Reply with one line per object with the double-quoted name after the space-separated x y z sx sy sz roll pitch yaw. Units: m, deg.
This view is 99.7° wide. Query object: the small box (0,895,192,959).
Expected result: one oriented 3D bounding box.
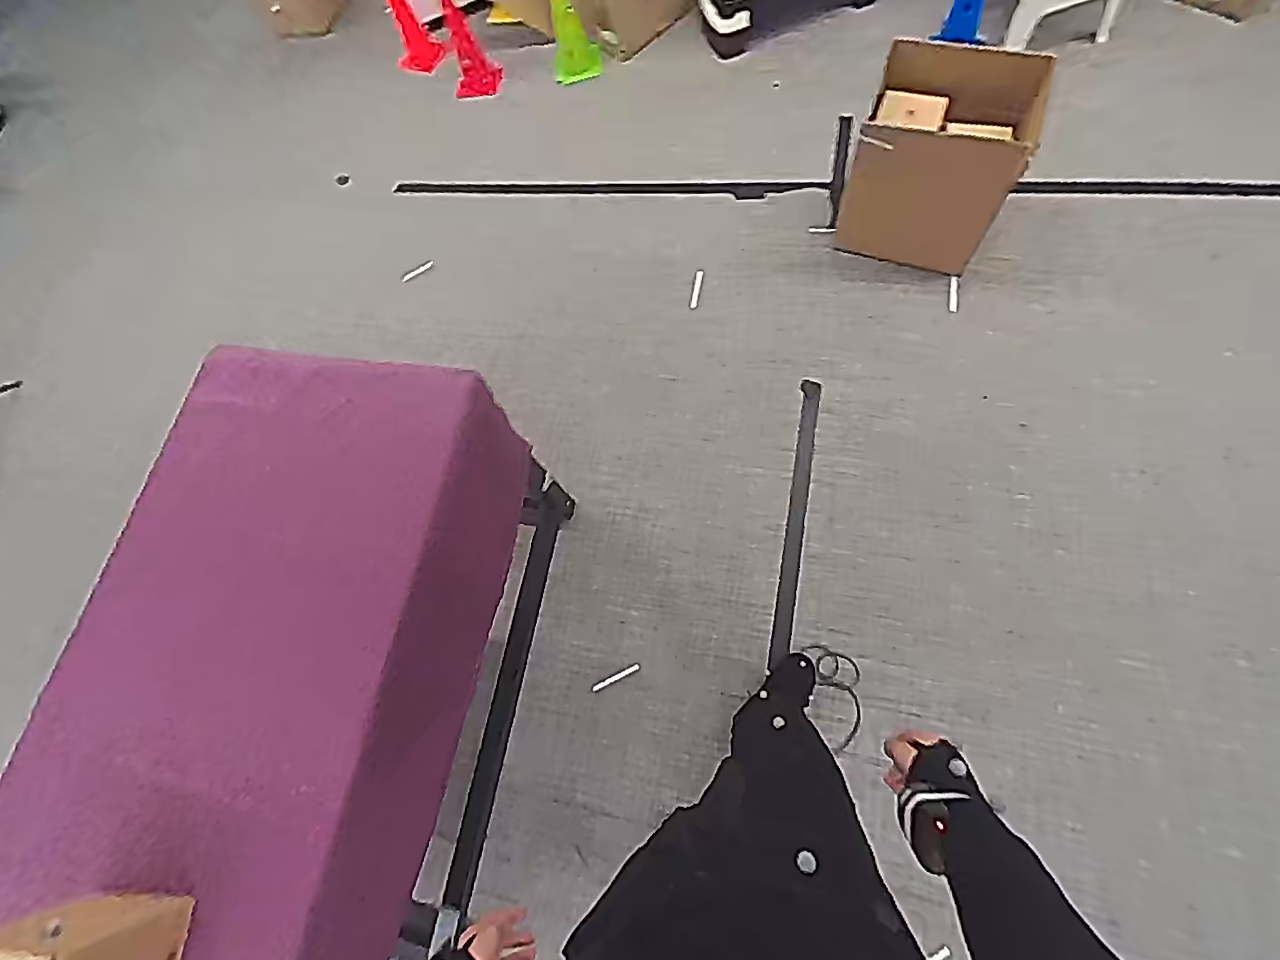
-0.715 0.643 0.669 0.179 0.176 0.168 -4 69 9 "small box"
